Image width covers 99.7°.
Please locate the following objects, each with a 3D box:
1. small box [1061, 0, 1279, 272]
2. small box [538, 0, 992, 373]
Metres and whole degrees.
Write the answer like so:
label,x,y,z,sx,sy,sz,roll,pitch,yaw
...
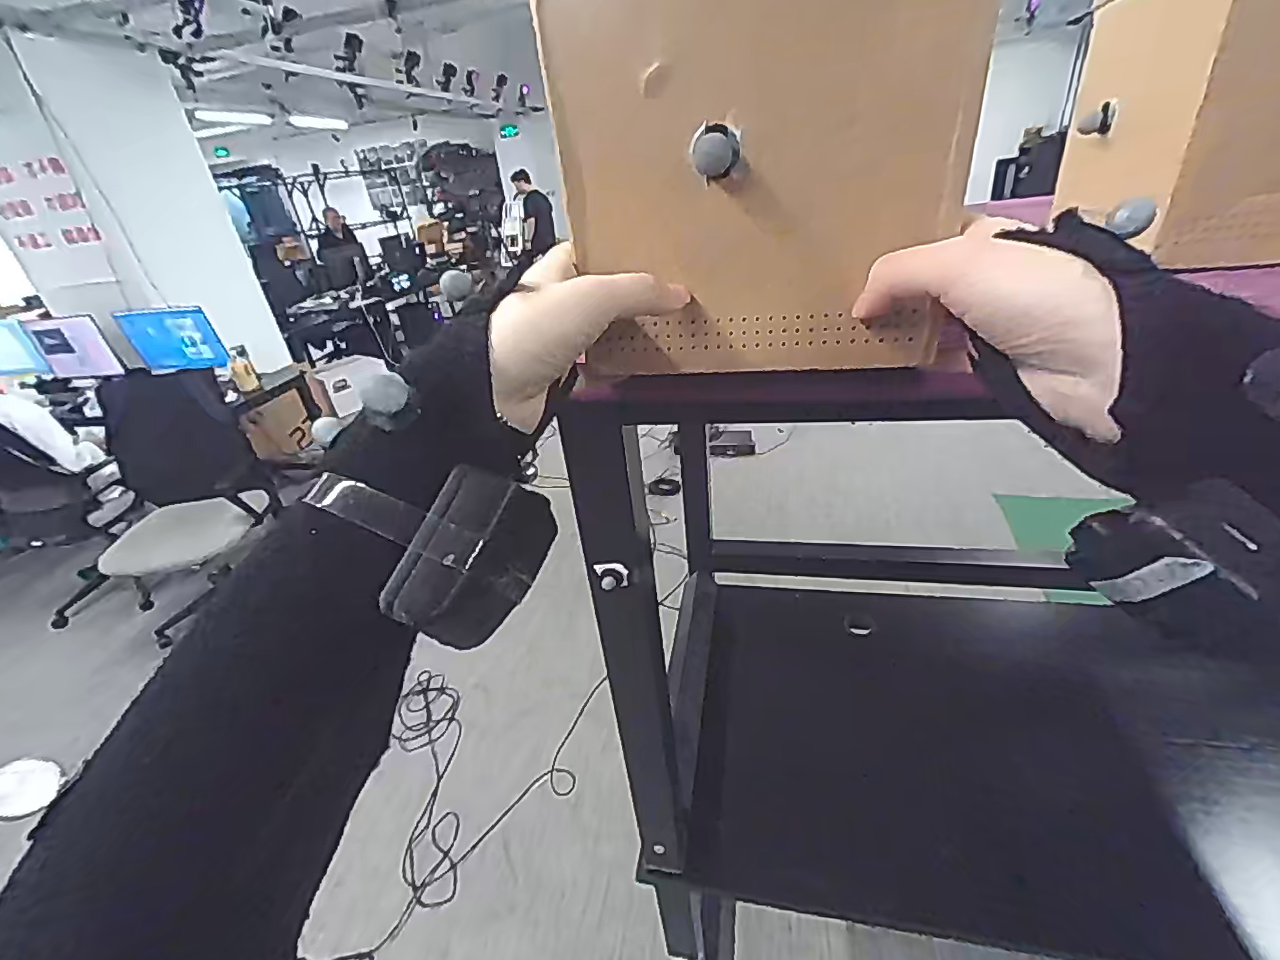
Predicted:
label,x,y,z,sx,sy,sz,roll,pitch,yaw
small box,0.418,-0.240,0.358,0.179,0.176,0.168,2,30,14
small box,0.067,-0.164,0.300,0.179,0.176,0.168,0,31,13
